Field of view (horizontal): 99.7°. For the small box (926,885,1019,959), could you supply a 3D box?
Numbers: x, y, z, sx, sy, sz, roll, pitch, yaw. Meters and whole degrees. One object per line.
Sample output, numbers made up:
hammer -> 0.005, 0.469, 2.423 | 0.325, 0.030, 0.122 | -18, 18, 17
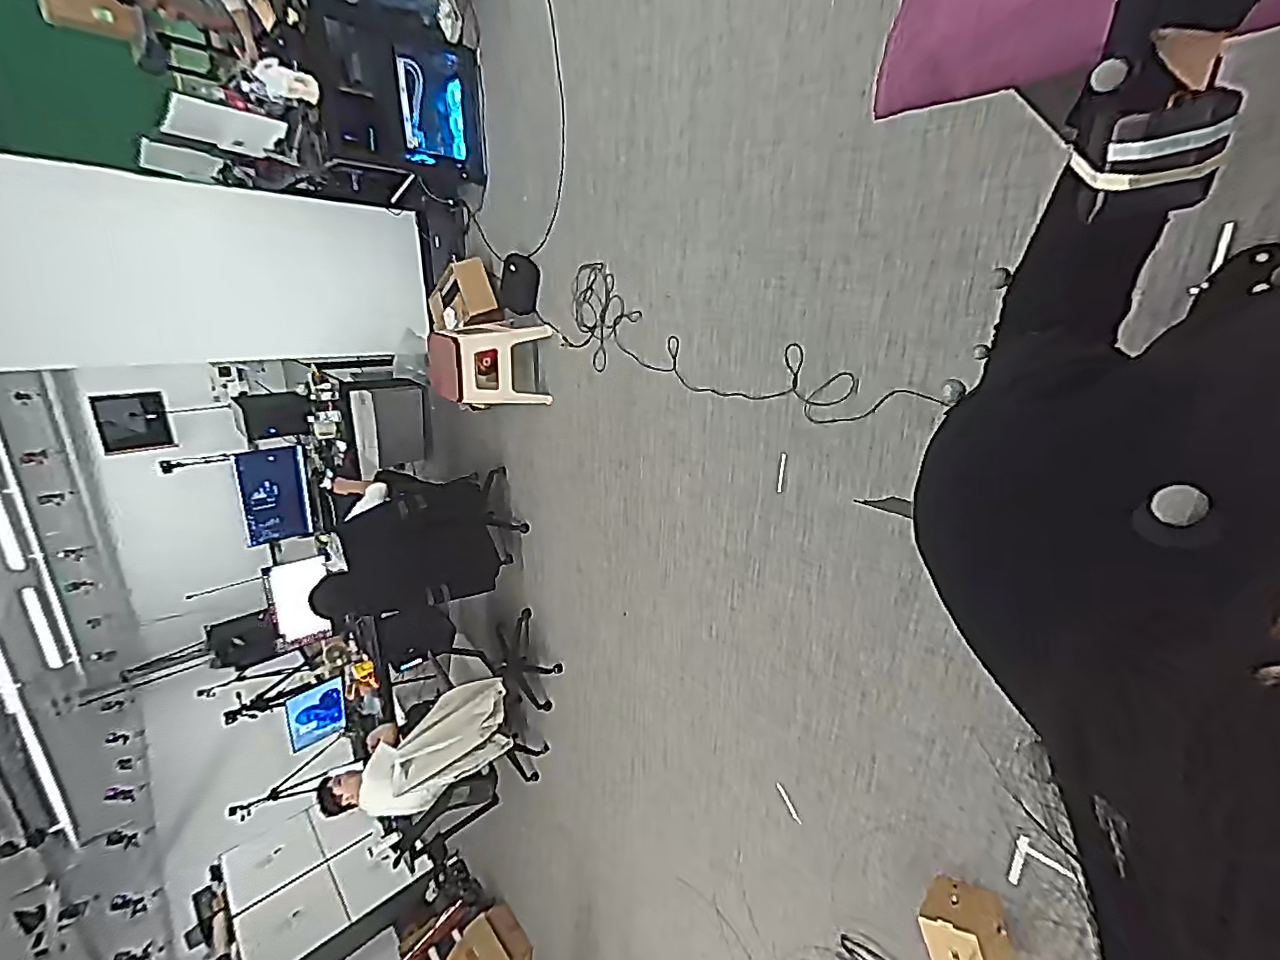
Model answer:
small box -> 0.969, 1.336, 1.572 | 0.168, 0.176, 0.179 | -20, 86, 49
